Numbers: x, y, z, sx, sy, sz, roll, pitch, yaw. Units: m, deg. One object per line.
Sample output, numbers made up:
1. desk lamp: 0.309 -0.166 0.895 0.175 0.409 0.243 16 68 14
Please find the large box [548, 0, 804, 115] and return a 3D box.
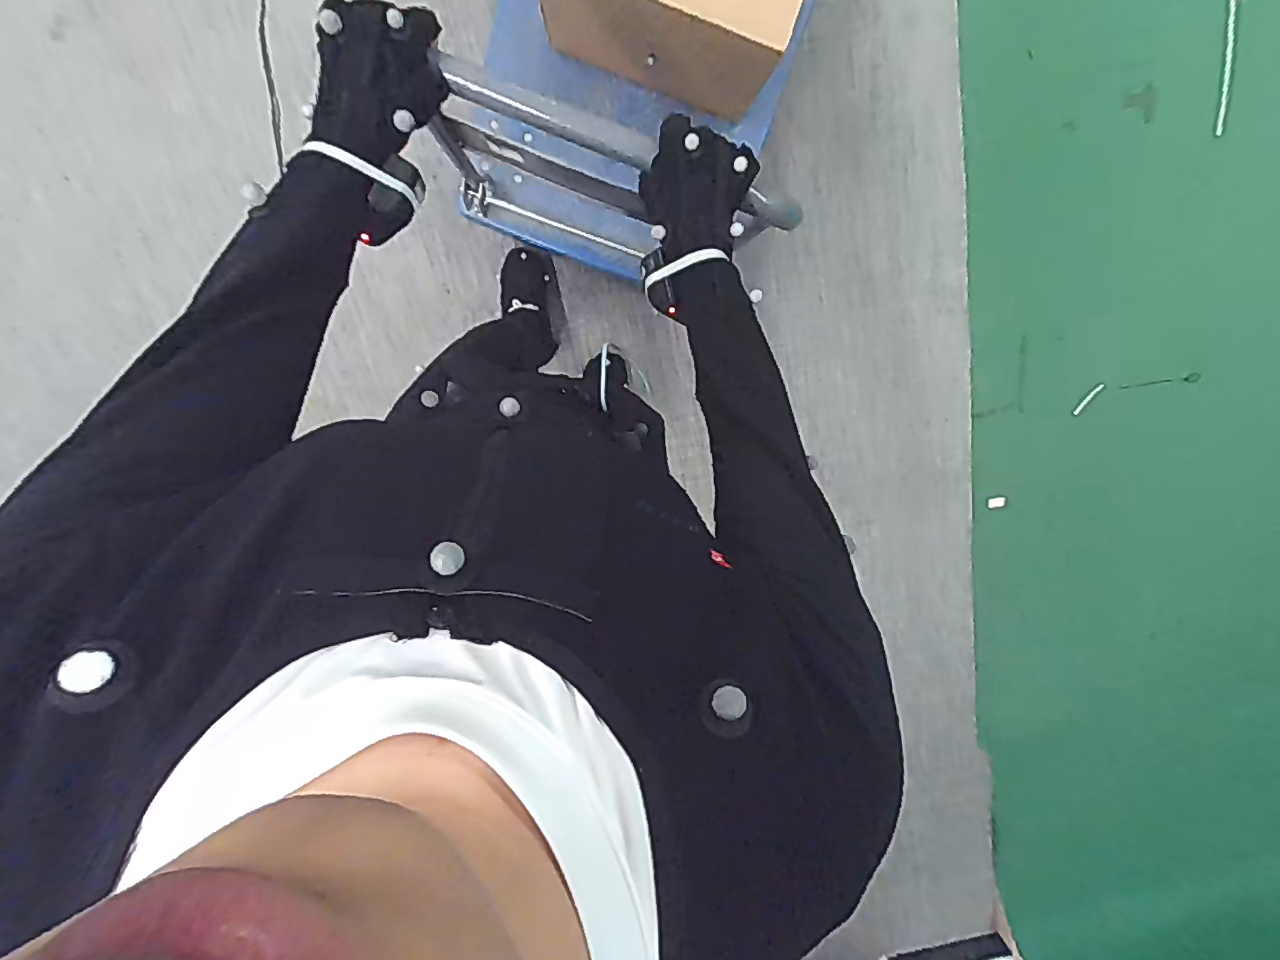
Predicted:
1. large box: 0.077 -0.896 0.912 0.408 0.320 0.320 16 105 -8
